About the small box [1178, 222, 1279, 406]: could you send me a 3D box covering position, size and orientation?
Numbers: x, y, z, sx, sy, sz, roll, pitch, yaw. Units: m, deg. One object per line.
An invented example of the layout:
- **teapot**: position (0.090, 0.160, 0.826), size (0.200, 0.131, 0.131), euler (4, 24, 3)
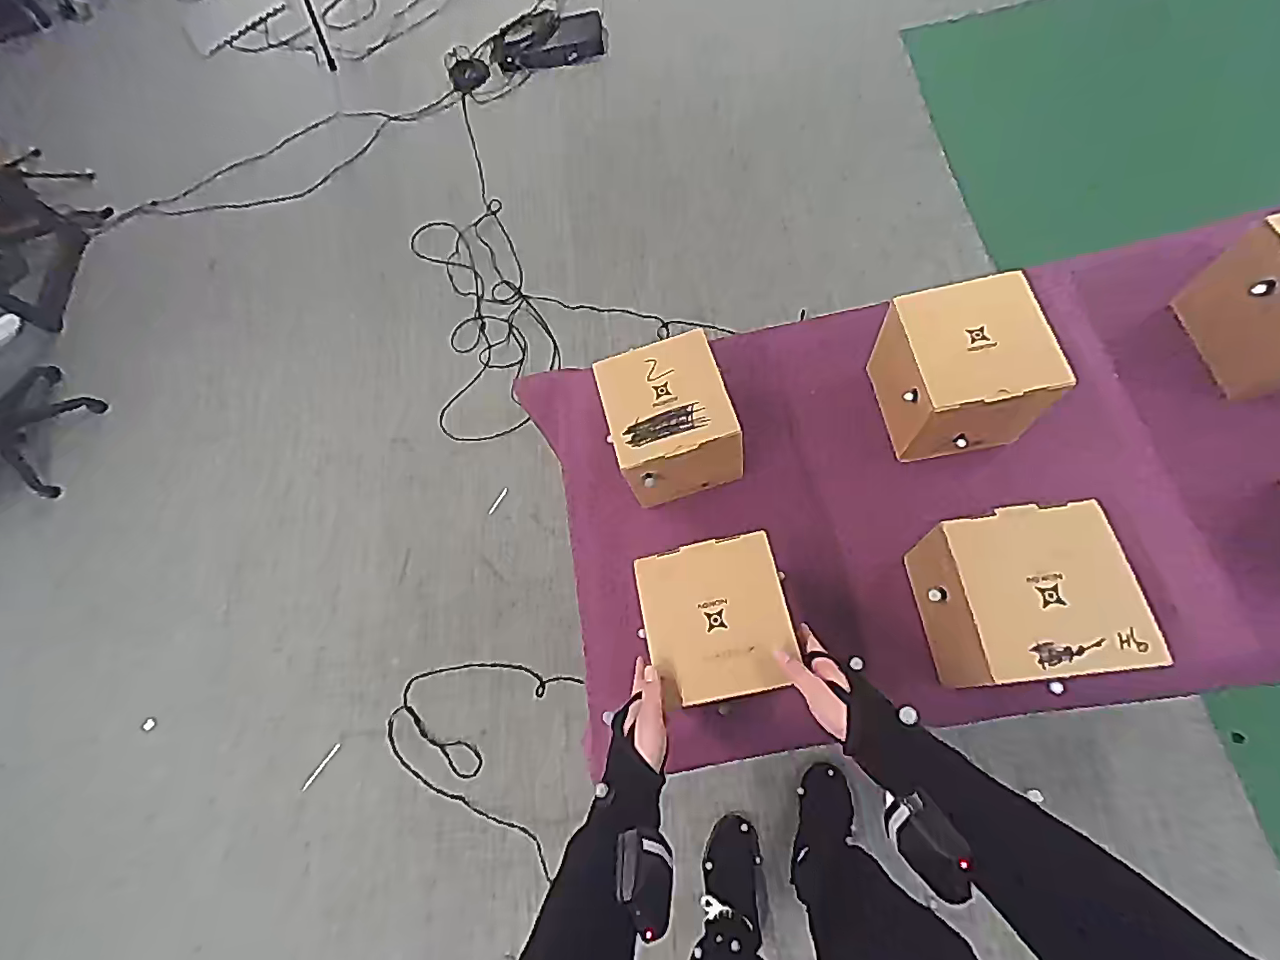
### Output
- **small box**: position (0.871, -0.220, 0.698), size (0.168, 0.176, 0.179), euler (-10, 69, 8)

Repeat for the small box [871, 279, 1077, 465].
- **small box**: position (0.441, -0.141, 0.753), size (0.168, 0.176, 0.179), euler (-11, 69, 6)

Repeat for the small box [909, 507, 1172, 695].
- **small box**: position (0.441, 0.150, 0.637), size (0.168, 0.176, 0.179), euler (-9, 66, 8)
